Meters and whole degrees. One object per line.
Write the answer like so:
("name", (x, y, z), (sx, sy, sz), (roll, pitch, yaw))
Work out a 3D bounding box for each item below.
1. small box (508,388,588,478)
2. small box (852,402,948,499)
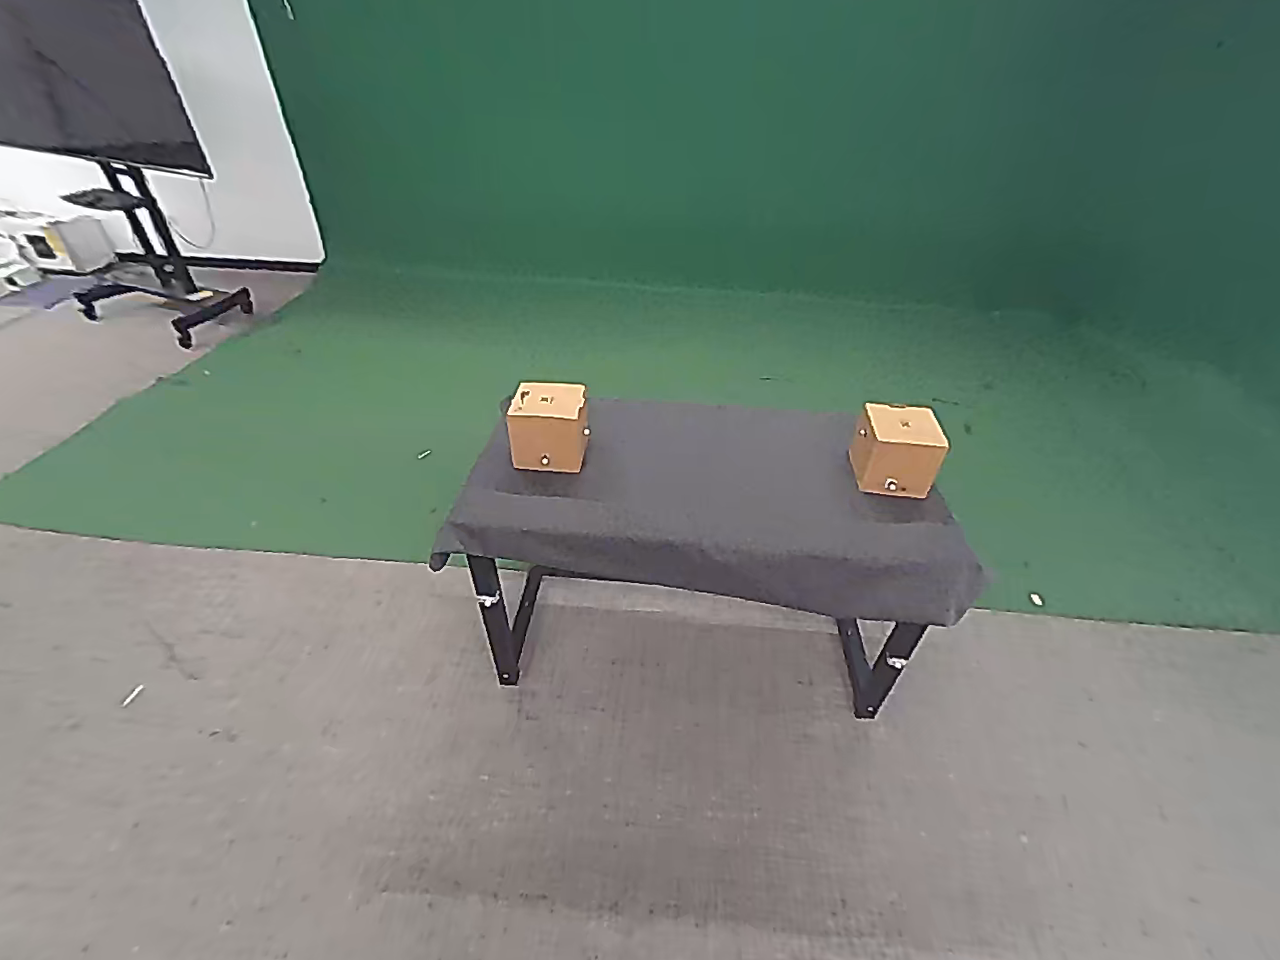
("small box", (-0.234, -0.122, 1.423), (0.179, 0.176, 0.168), (5, 39, 1))
("small box", (0.652, -0.077, 1.379), (0.168, 0.176, 0.179), (6, 39, 9))
